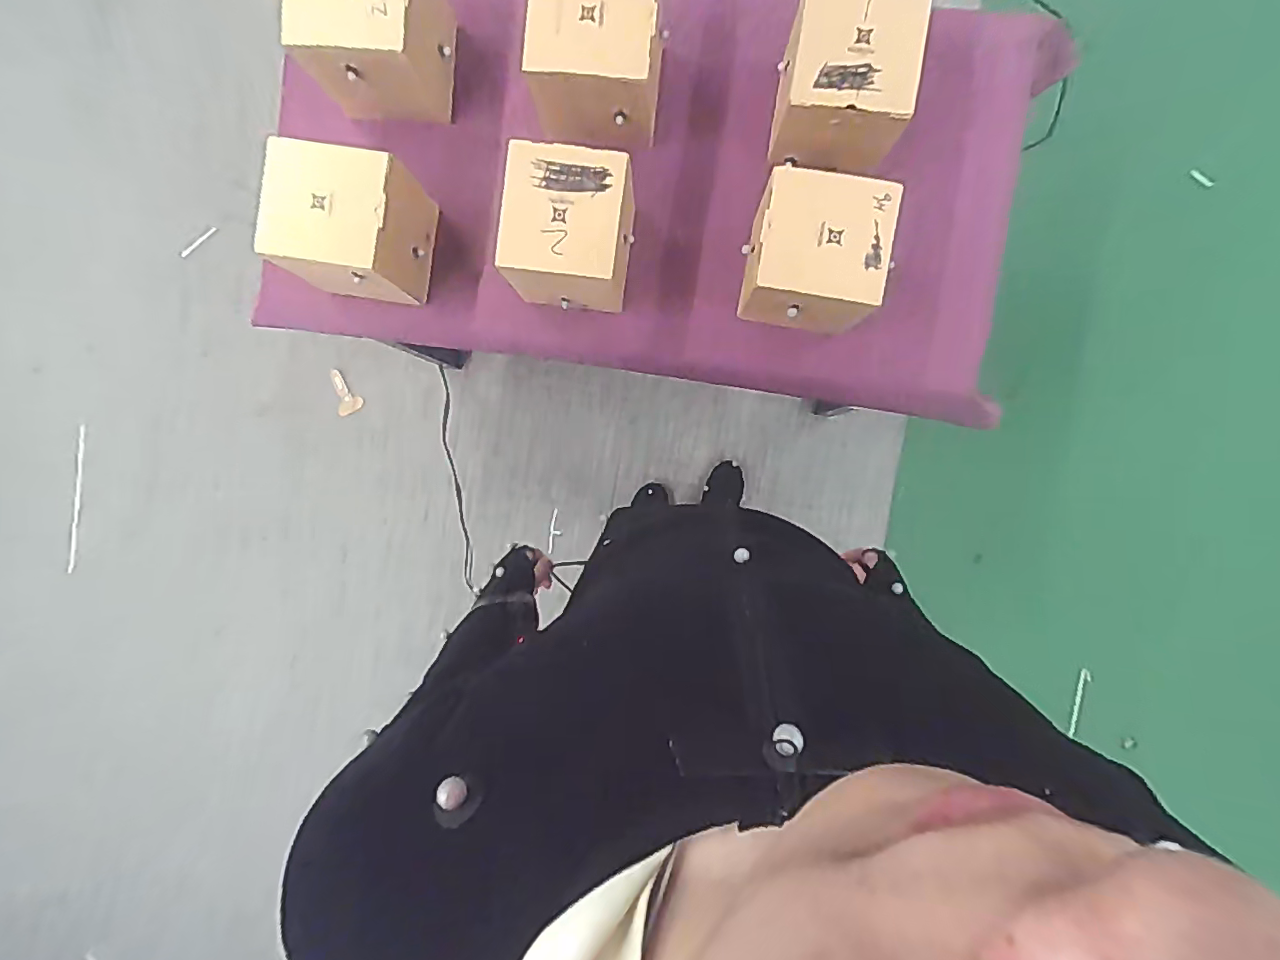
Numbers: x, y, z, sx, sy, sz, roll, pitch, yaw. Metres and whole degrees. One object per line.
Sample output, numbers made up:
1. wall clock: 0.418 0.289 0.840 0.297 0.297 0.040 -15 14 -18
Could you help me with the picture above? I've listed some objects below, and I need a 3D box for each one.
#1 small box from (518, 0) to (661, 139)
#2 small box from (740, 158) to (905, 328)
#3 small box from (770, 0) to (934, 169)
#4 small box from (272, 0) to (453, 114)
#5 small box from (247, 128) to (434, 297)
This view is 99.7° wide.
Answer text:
1. small box: -0.064 -0.631 0.790 0.179 0.176 0.168 7 93 3
2. small box: 0.251 -0.332 0.789 0.179 0.176 0.168 10 93 3
3. small box: 0.291 -0.579 0.775 0.168 0.176 0.179 9 93 2
4. small box: -0.399 -0.677 0.800 0.179 0.176 0.168 5 94 2
5. small box: -0.440 -0.390 0.818 0.179 0.176 0.168 9 92 1
